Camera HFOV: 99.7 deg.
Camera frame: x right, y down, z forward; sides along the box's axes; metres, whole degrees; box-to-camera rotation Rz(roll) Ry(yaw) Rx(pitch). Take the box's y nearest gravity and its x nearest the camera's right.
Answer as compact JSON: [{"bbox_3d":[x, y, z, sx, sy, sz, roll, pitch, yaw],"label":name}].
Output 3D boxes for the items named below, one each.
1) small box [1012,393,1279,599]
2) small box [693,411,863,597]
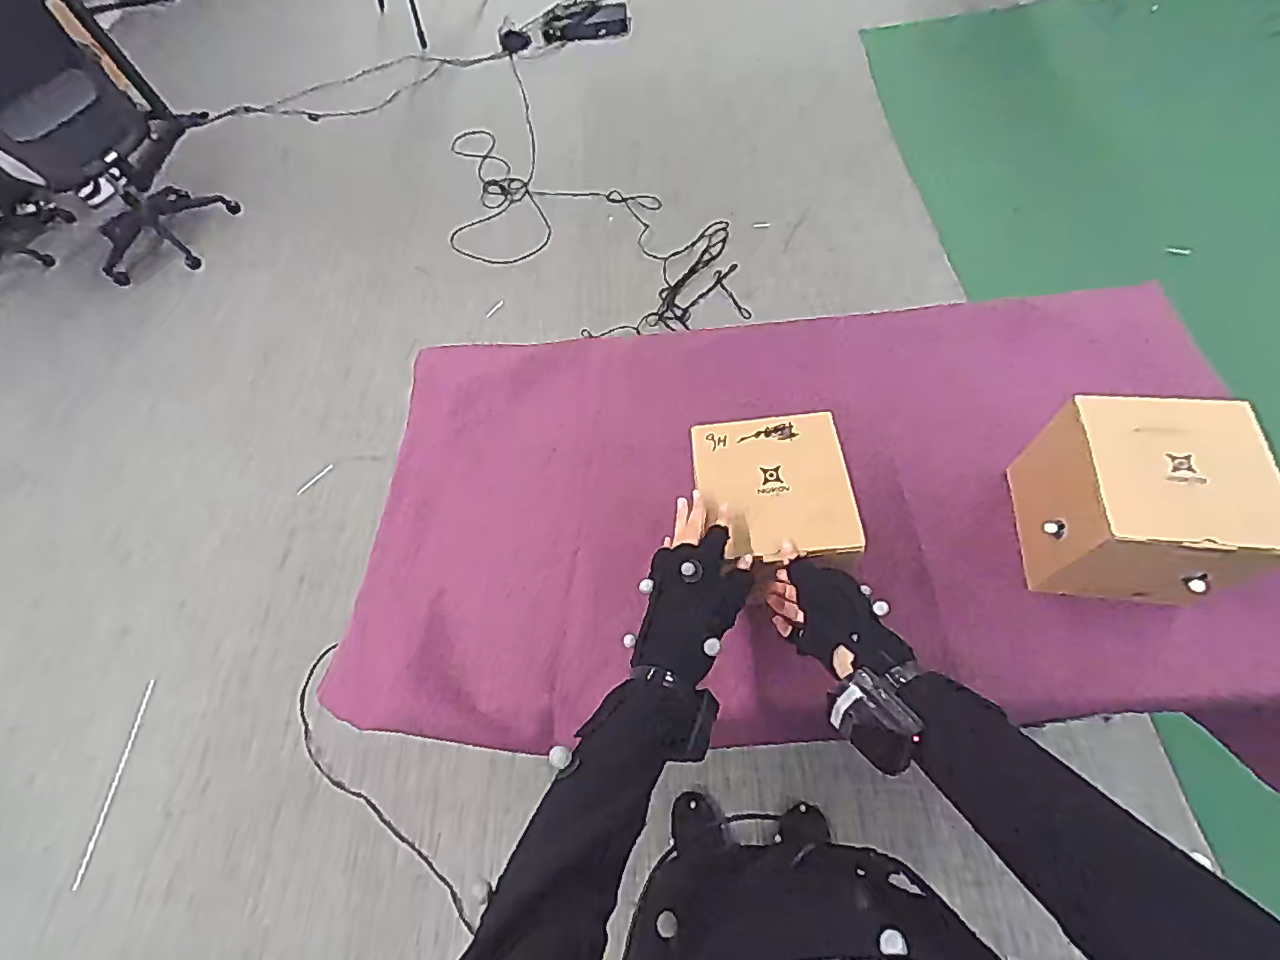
[{"bbox_3d":[0.557,0.024,0.613,0.168,0.176,0.179,5,62,11],"label":"small box"},{"bbox_3d":[0.157,0.040,0.666,0.168,0.176,0.179,-5,61,5],"label":"small box"}]
